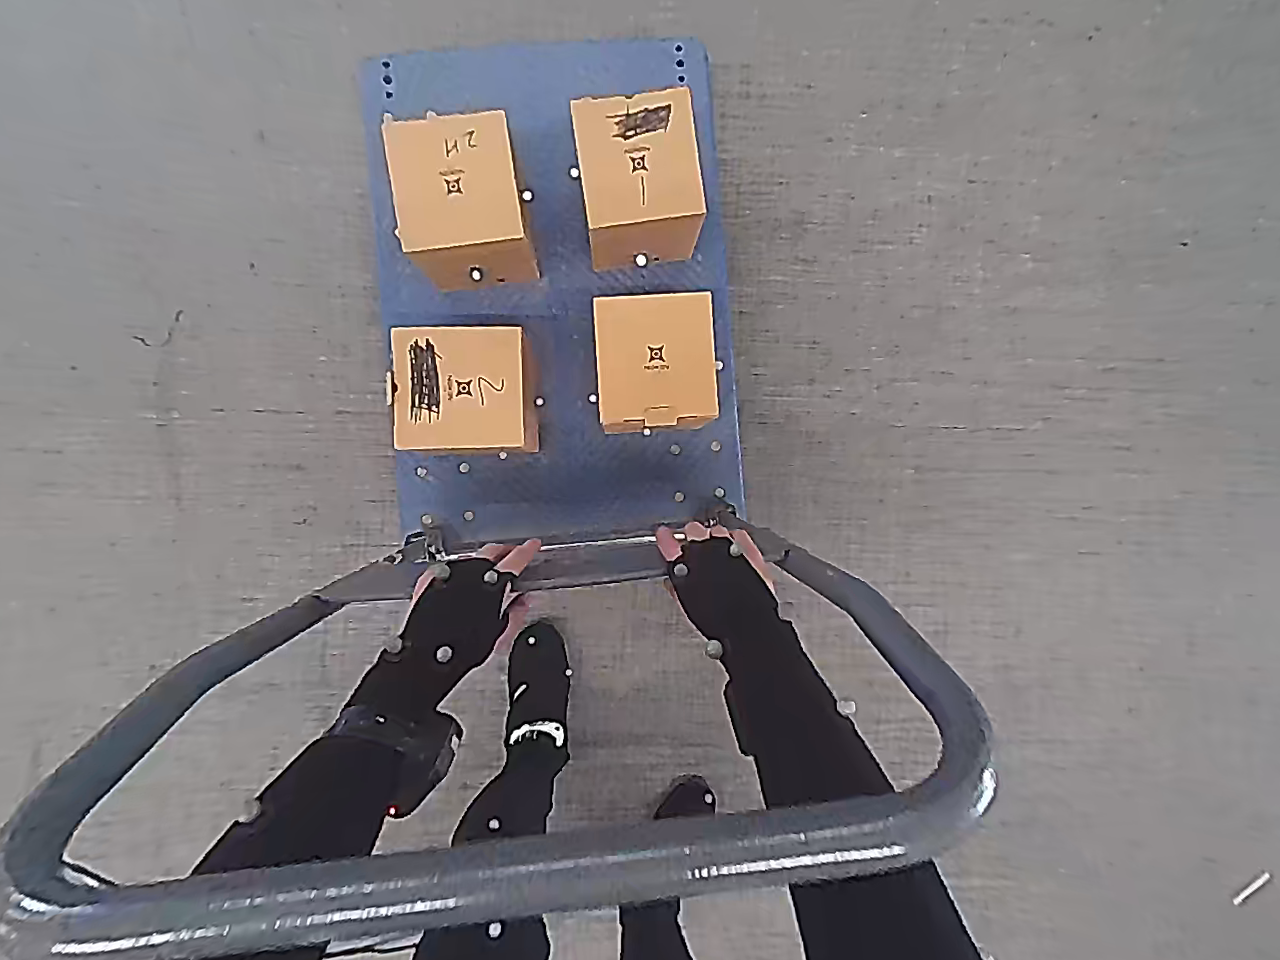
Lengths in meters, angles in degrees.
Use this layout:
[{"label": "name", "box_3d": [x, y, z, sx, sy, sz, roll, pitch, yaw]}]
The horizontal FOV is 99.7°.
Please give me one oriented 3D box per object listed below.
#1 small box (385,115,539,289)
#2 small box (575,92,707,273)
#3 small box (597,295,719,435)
[{"label": "small box", "box_3d": [-0.251, -0.396, 0.804, 0.168, 0.176, 0.179, -8, 91, -3]}, {"label": "small box", "box_3d": [-0.003, -0.435, 0.815, 0.168, 0.176, 0.179, -8, 92, -2]}, {"label": "small box", "box_3d": [0.019, -0.165, 0.822, 0.168, 0.176, 0.179, -4, 92, -3]}]
